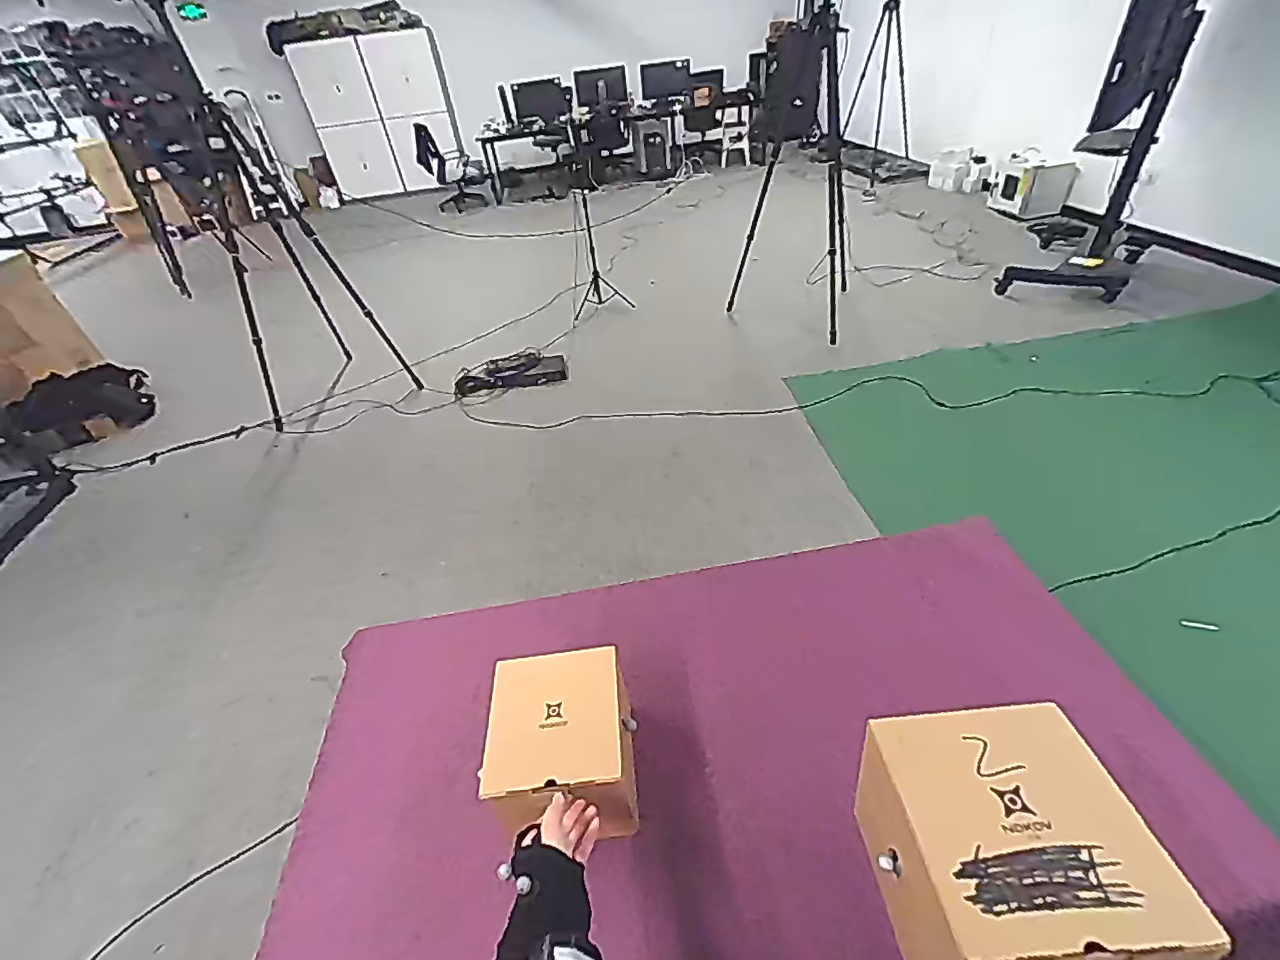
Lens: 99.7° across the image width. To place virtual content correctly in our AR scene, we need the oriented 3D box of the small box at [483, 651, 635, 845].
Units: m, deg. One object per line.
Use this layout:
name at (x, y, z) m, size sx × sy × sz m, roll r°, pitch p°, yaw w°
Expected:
small box at (-0.100, 0.363, 0.738) m, size 0.168 × 0.176 × 0.179 m, roll -8°, pitch 40°, yaw 0°
